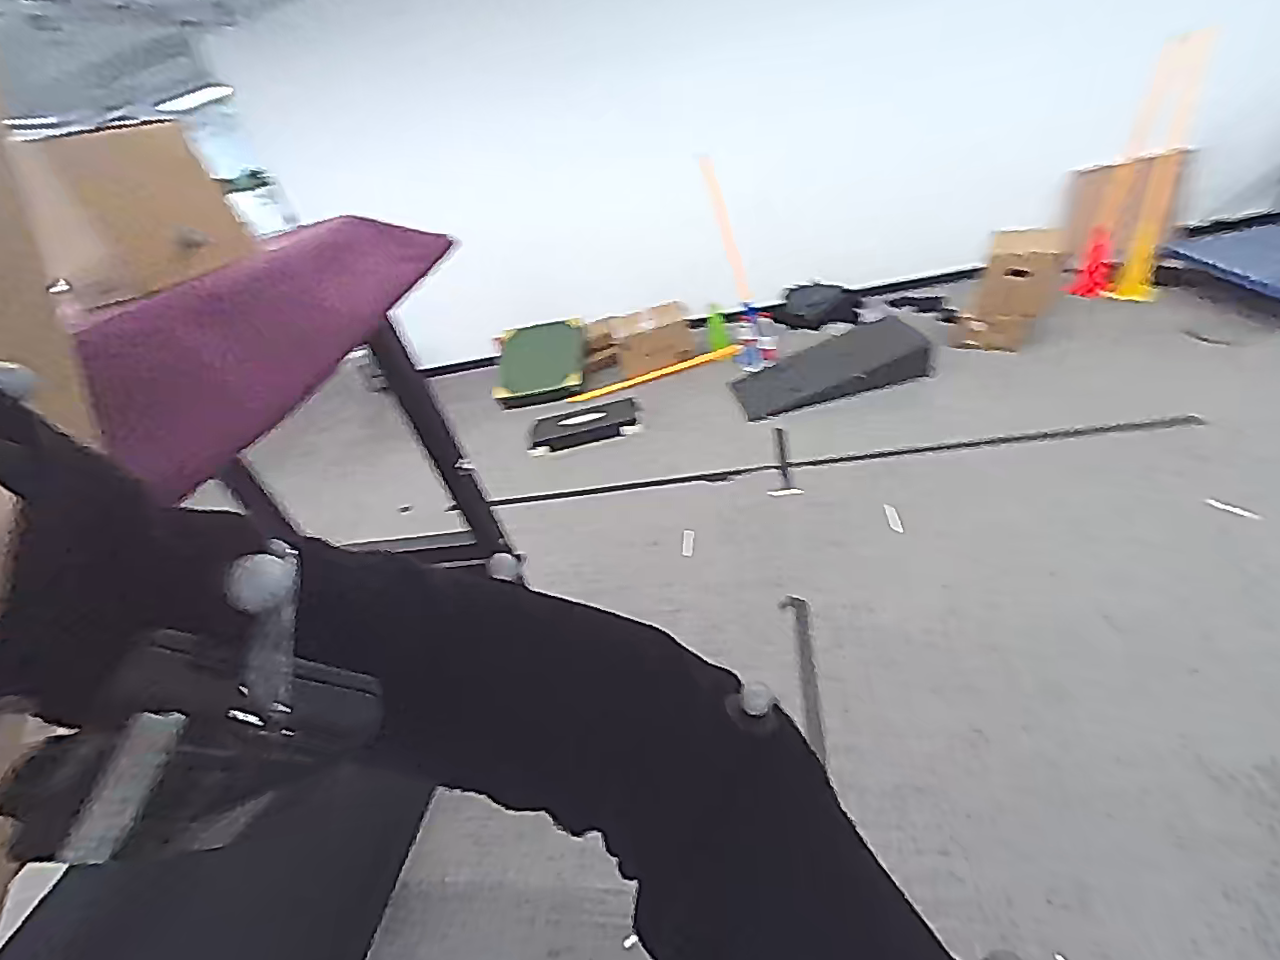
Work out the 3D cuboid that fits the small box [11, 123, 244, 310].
[{"bbox_3d":[-0.661,-0.334,0.694,0.168,0.176,0.179,-1,37,22],"label":"small box"}]
